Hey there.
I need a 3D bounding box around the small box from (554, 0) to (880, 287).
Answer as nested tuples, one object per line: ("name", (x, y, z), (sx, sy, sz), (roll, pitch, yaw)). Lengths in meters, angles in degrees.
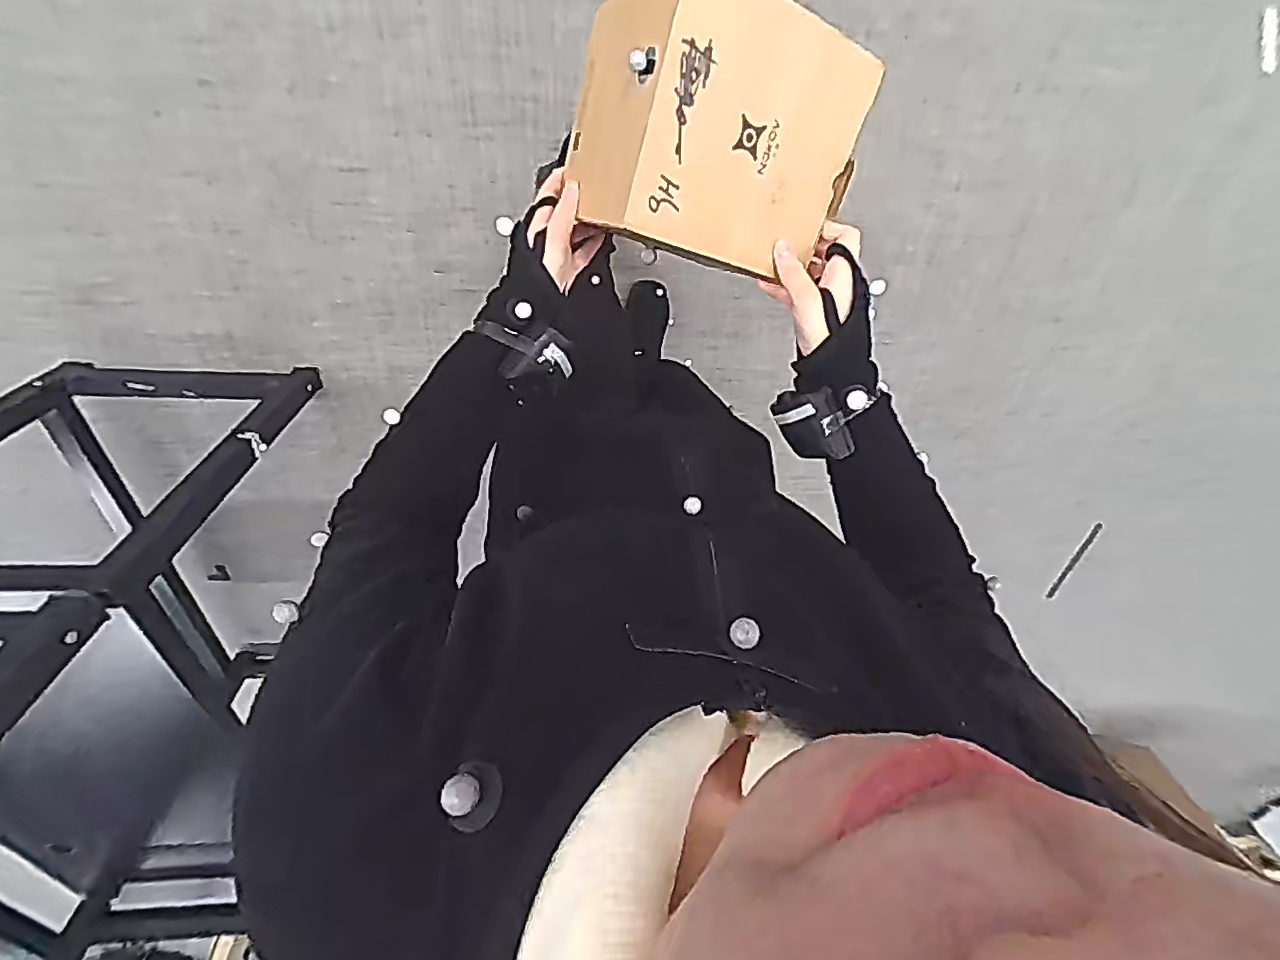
("small box", (0.050, -0.277, 0.450), (0.179, 0.176, 0.168), (6, 112, -31))
